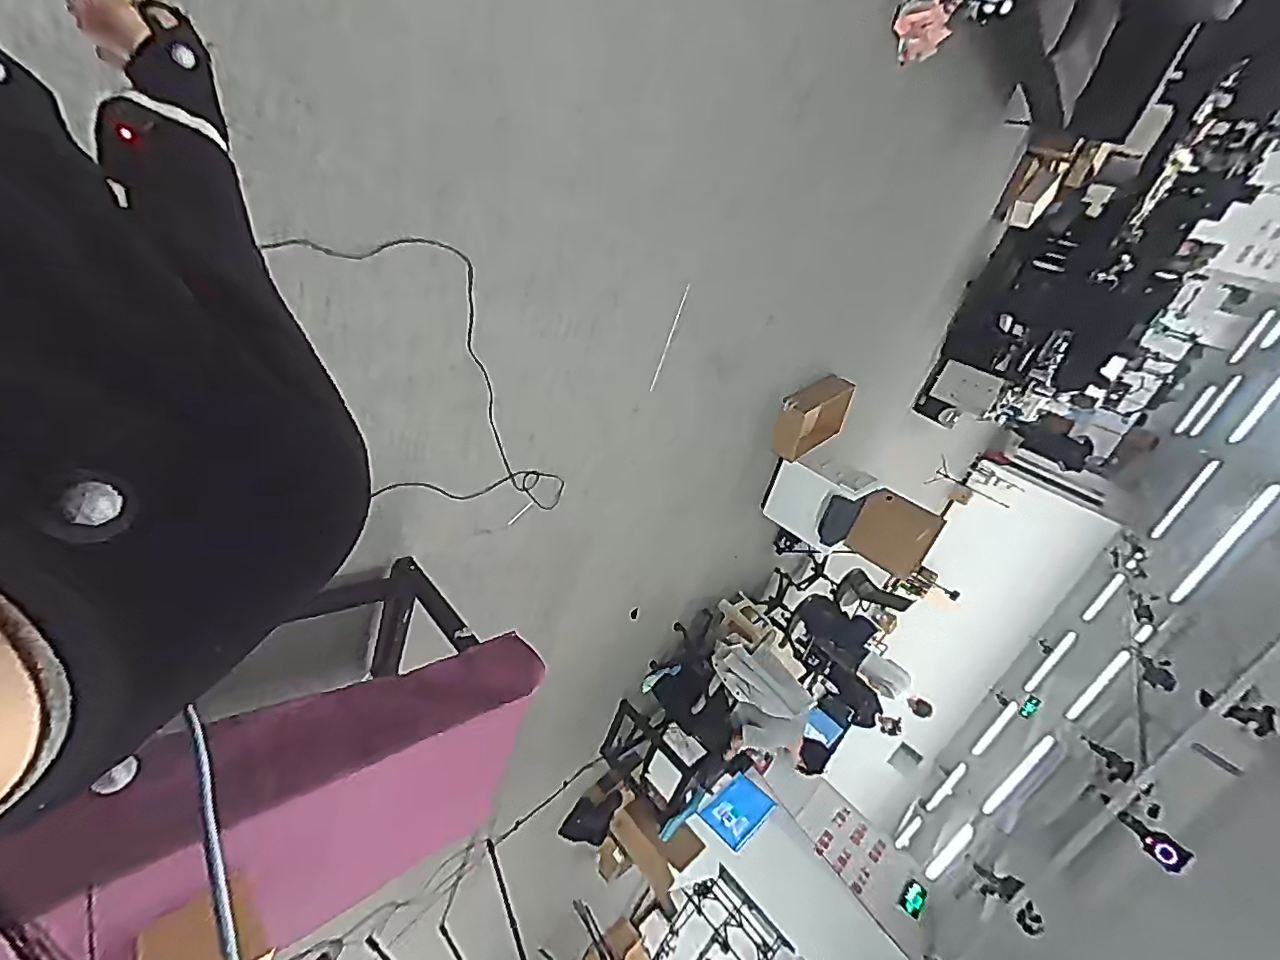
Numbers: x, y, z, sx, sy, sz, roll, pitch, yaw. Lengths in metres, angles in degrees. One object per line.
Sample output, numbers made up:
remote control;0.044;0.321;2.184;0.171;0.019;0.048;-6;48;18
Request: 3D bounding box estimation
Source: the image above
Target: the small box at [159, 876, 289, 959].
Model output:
small box;-0.822;0.942;1.060;0.179;0.176;0.168;-4;123;-49
